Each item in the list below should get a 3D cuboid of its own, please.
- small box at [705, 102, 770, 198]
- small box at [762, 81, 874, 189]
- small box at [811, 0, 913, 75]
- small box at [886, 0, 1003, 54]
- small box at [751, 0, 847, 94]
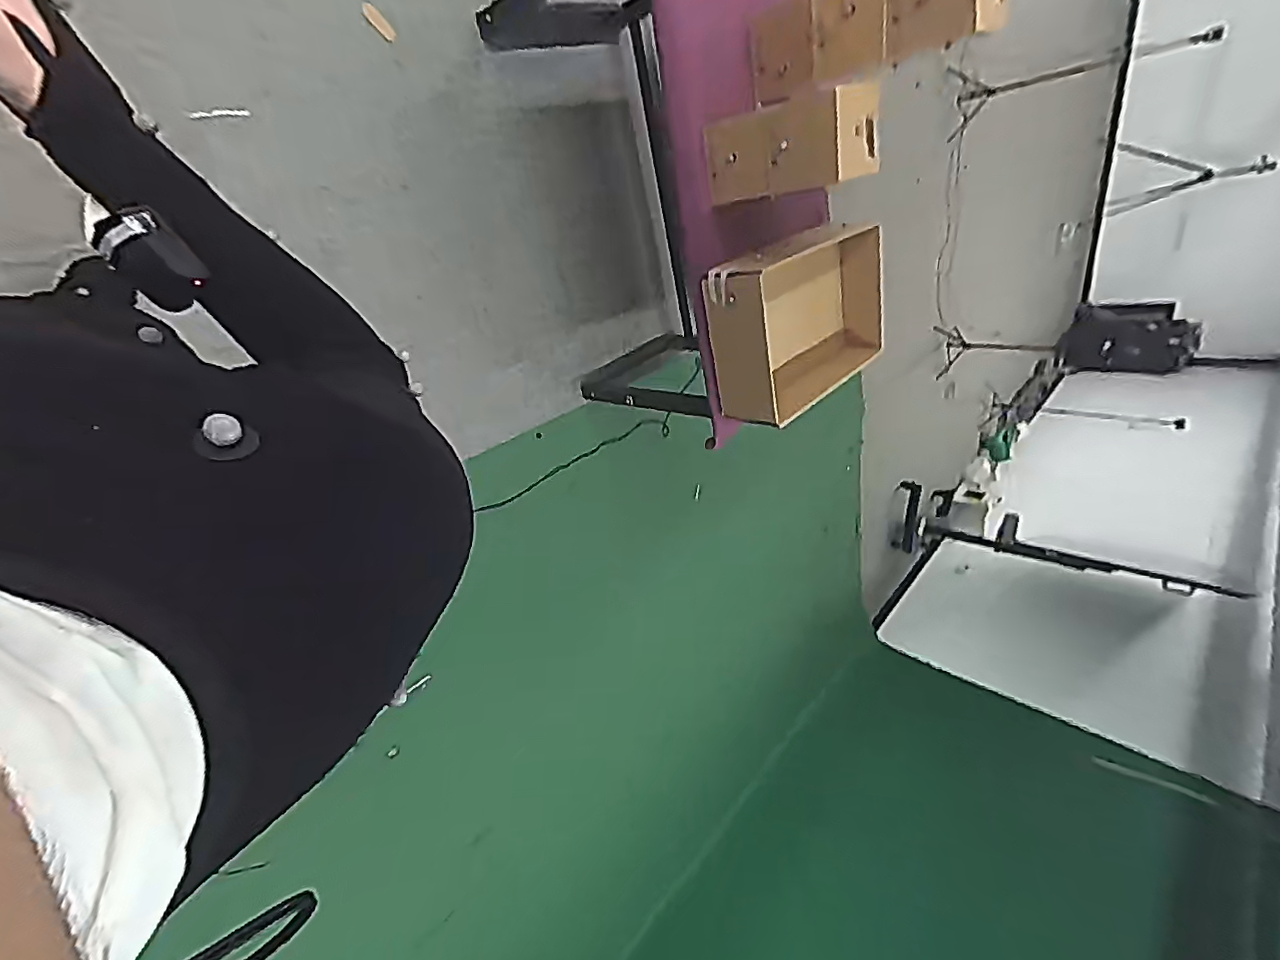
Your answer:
[{"bbox_3d":[0.266,-0.772,1.269,0.179,0.176,0.168,-33,125,-35],"label":"small box"},{"bbox_3d":[0.381,-0.735,1.158,0.179,0.176,0.168,-33,124,-34],"label":"small box"},{"bbox_3d":[0.490,-1.013,1.188,0.179,0.176,0.168,-34,126,-34],"label":"small box"},{"bbox_3d":[0.607,-0.977,1.079,0.179,0.176,0.168,-34,126,-33],"label":"small box"},{"bbox_3d":[0.381,-1.050,1.301,0.179,0.176,0.168,-34,125,-34],"label":"small box"}]
